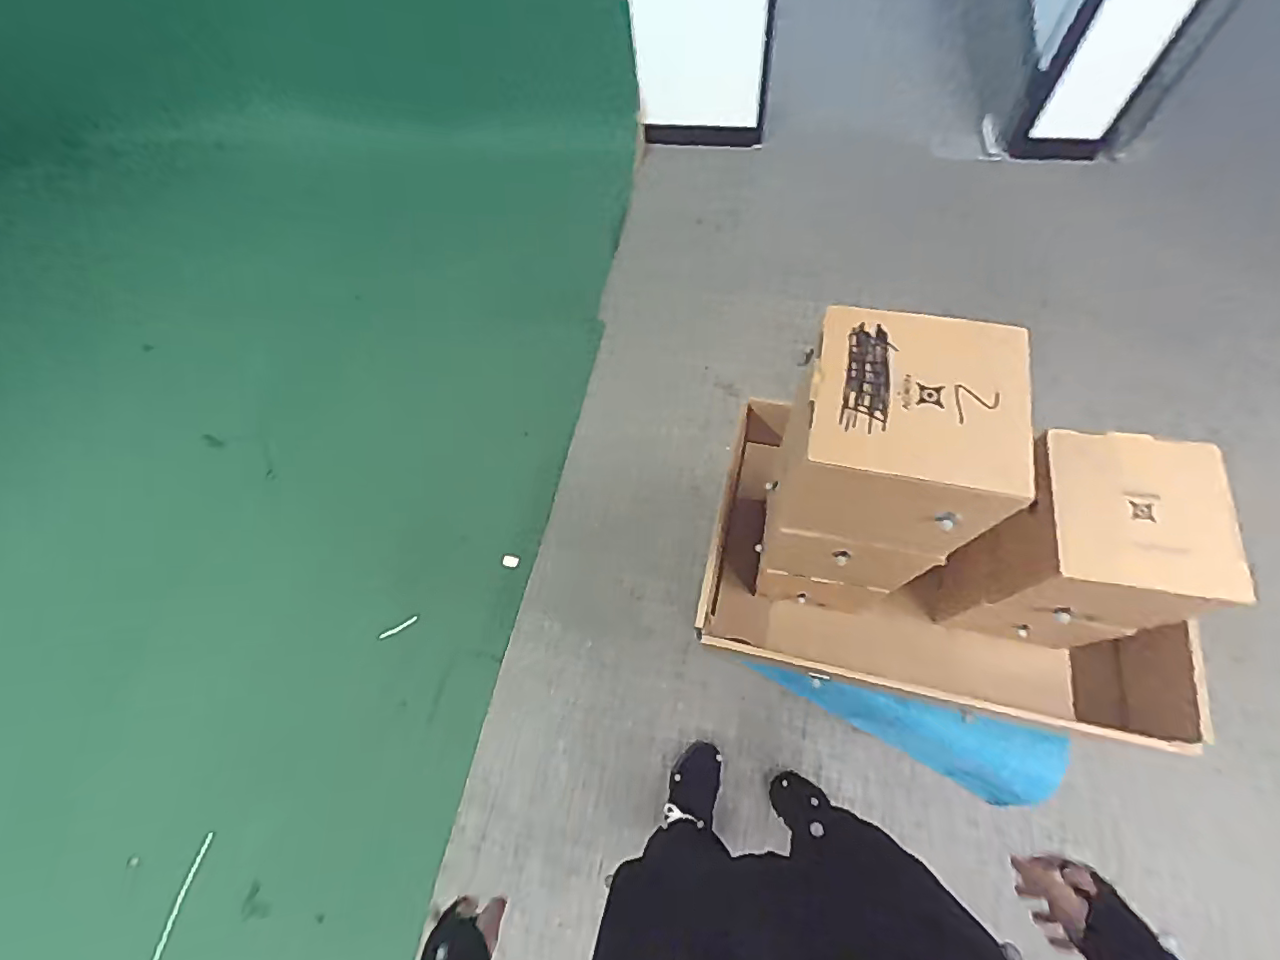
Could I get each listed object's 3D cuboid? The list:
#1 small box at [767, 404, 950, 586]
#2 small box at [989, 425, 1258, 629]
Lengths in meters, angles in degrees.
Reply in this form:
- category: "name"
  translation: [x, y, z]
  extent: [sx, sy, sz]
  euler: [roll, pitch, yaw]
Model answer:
- category: "small box"
  translation: [0.262, 0.026, 0.677]
  extent: [0.179, 0.176, 0.168]
  euler: [9, 68, 10]
- category: "small box"
  translation: [0.531, 0.060, 0.628]
  extent: [0.168, 0.176, 0.179]
  euler: [8, 67, 12]
